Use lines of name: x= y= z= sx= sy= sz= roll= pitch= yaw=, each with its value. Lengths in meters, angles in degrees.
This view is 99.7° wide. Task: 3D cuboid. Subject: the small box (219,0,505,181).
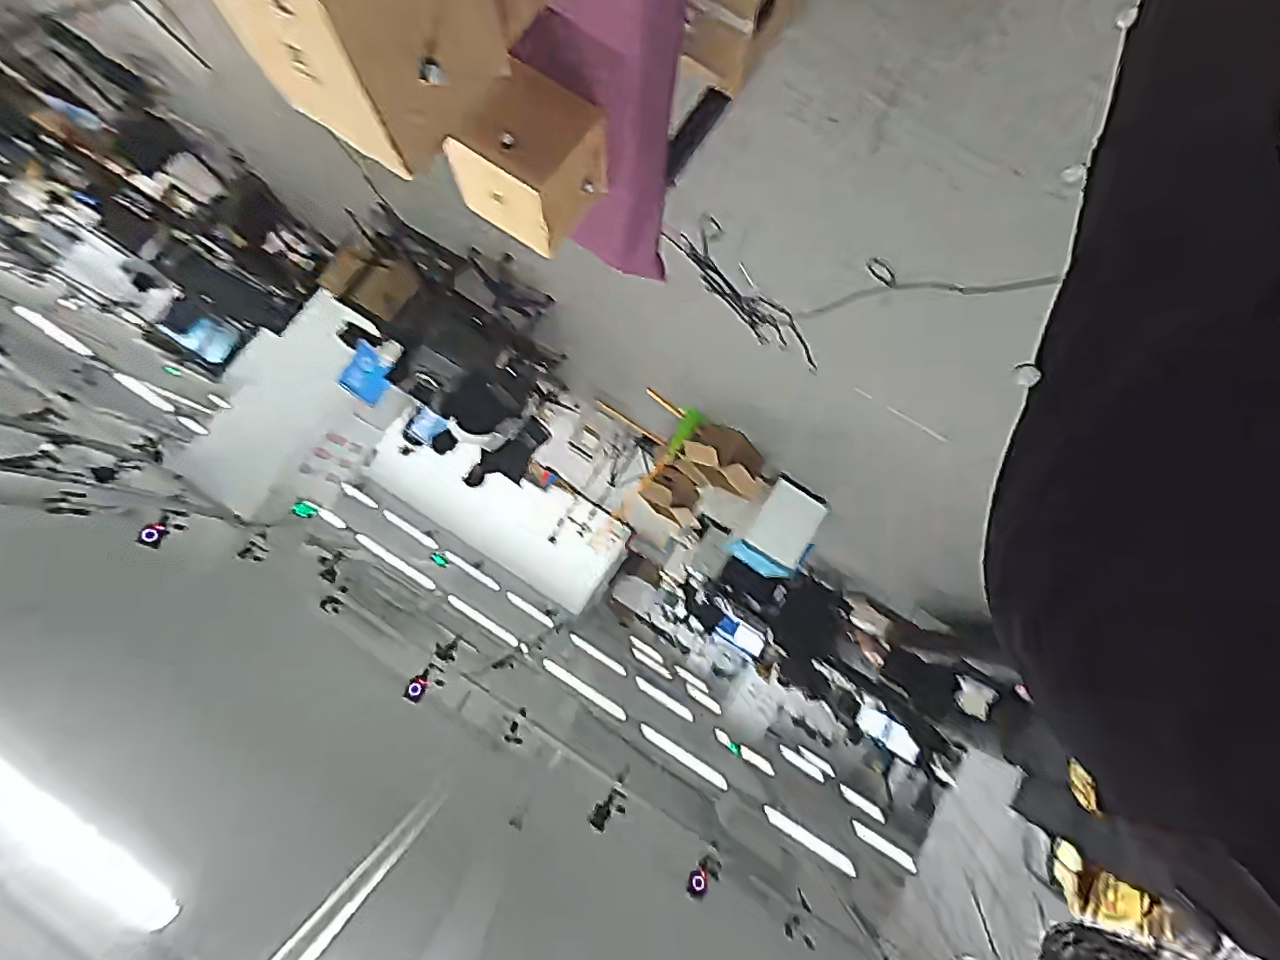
small box: x=-0.248 y=-0.431 z=0.492 sx=0.168 sy=0.176 sz=0.179 roll=32 pitch=171 yaw=6

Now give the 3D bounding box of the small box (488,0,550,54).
small box: x=-0.173 y=-0.576 z=0.518 sx=0.168 sy=0.176 sz=0.179 roll=34 pitch=171 yaw=6

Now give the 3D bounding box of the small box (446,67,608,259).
small box: x=-0.170 y=-0.503 z=0.863 sx=0.179 sy=0.176 sz=0.168 roll=33 pitch=169 yaw=4

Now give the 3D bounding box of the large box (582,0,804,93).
large box: x=0.126 y=-1.075 z=1.043 sx=0.408 sy=0.320 sz=0.320 roll=31 pitch=170 yaw=4
